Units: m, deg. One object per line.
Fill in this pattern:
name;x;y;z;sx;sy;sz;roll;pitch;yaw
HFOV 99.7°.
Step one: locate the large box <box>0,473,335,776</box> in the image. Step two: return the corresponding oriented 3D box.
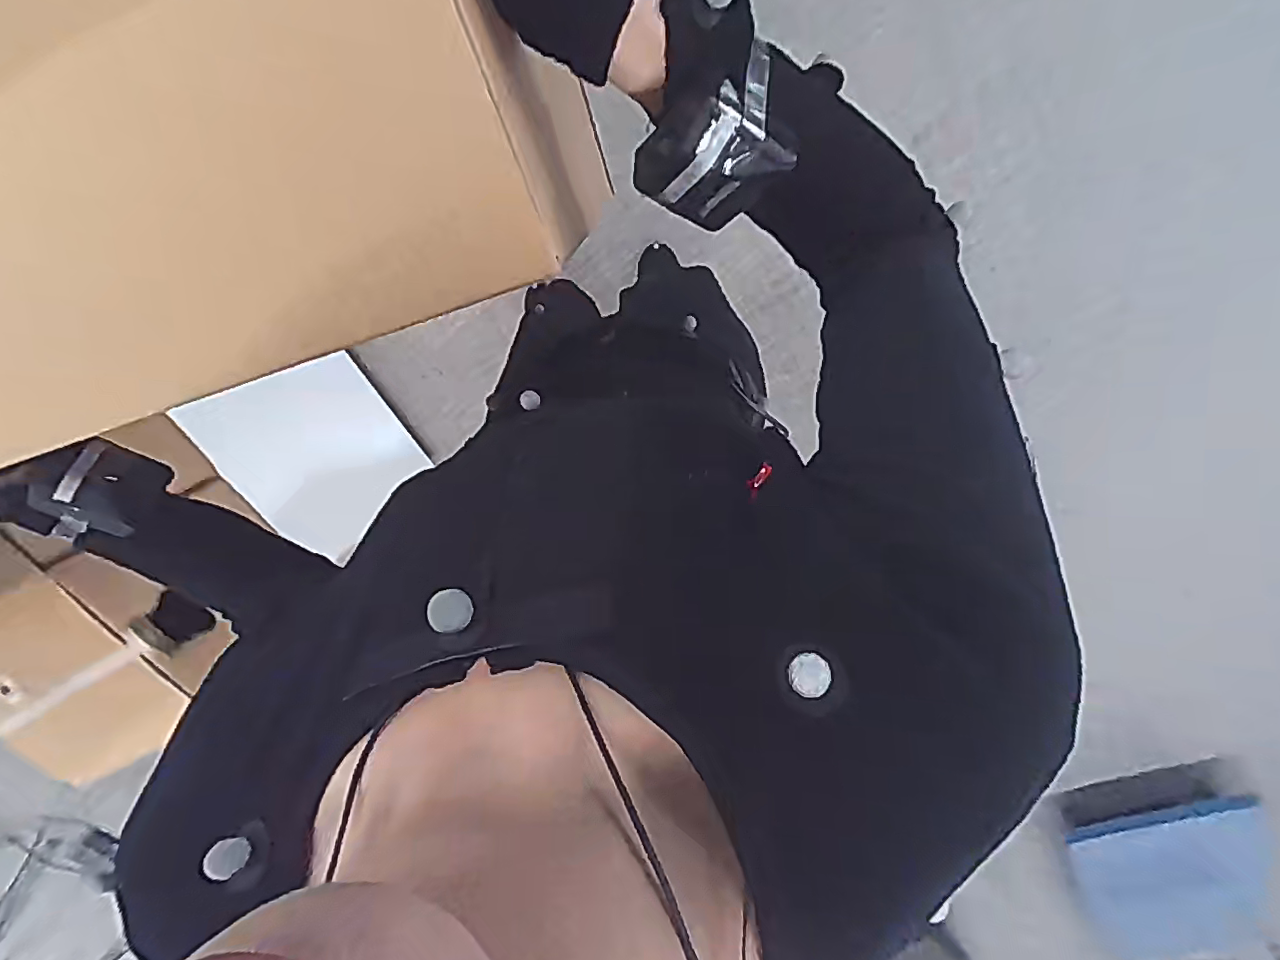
large box;-0.869;0.252;0.978;0.408;0.320;0.320;-28;109;18
